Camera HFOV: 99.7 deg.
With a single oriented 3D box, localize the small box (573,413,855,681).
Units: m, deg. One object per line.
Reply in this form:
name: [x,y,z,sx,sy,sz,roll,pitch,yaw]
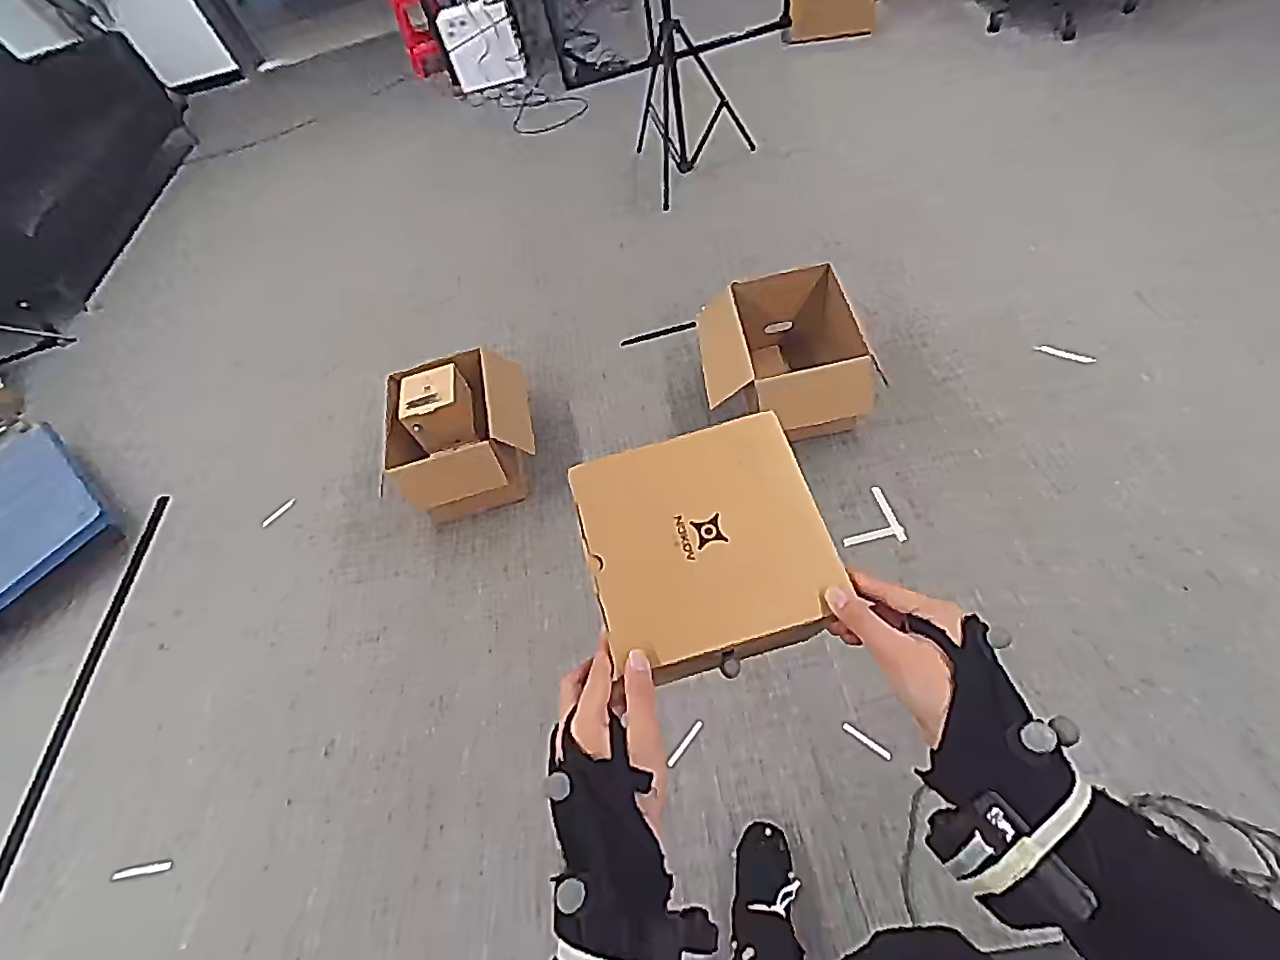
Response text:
small box: [0.054,0.069,0.479,0.179,0.176,0.168,-16,66,-2]
